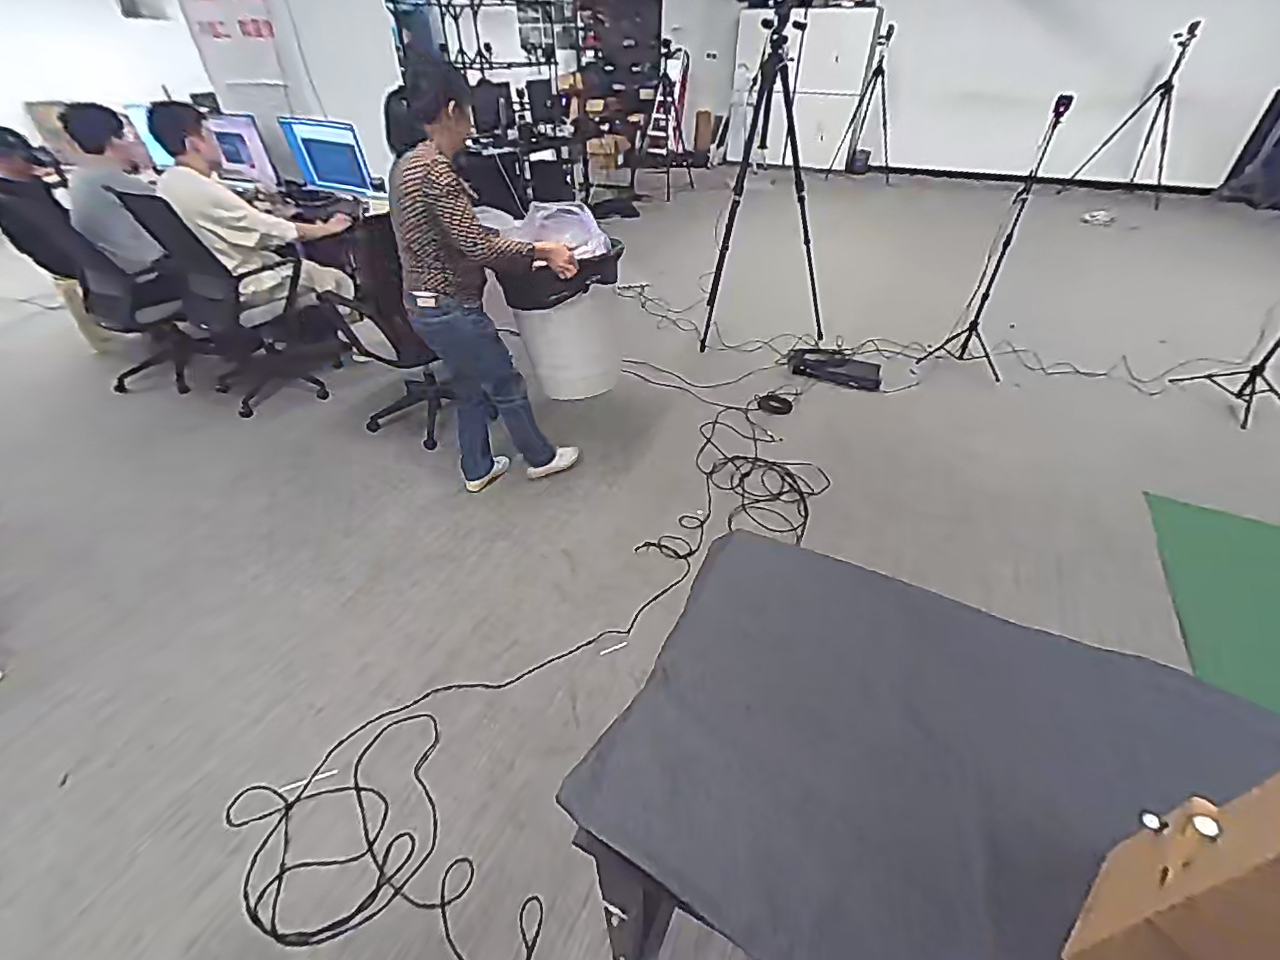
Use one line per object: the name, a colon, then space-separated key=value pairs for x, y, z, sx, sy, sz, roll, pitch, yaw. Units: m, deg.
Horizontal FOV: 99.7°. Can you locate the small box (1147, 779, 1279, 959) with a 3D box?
small box: x=0.570 y=0.353 z=0.419 sx=0.168 sy=0.176 sz=0.179 roll=-21 pitch=43 yaw=-25
